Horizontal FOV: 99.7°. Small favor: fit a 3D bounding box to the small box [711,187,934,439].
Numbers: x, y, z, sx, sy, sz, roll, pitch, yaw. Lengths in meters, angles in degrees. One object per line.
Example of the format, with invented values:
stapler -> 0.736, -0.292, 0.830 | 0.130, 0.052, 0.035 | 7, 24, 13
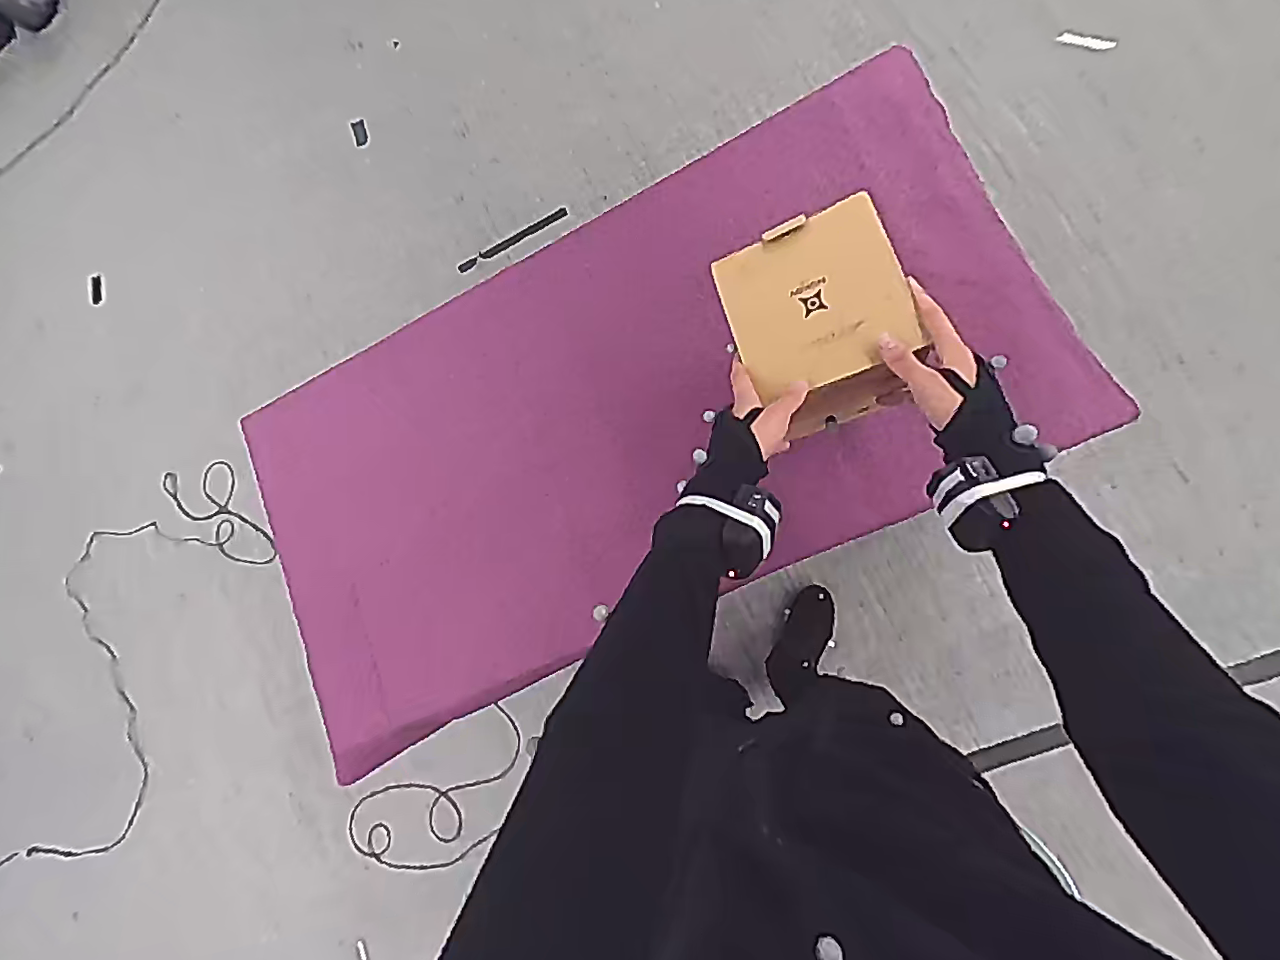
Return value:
small box -> 0.194, -0.164, 0.591 | 0.168, 0.176, 0.179 | -19, 75, 18
